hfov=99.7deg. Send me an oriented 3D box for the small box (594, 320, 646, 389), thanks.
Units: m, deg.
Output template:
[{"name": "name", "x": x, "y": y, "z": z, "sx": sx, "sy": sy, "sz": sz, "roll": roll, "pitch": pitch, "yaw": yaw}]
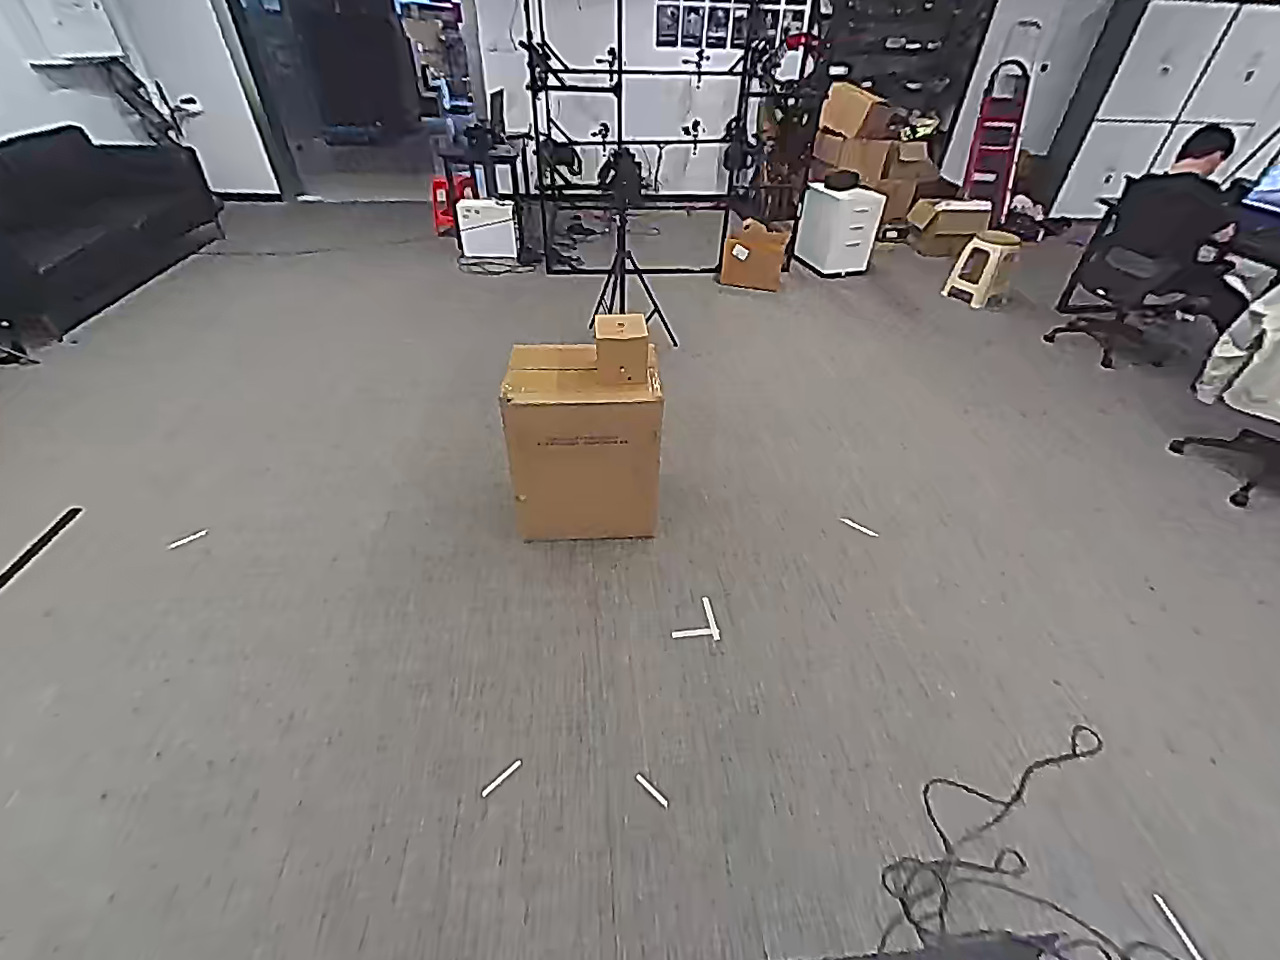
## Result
[{"name": "small box", "x": -0.069, "y": -0.420, "z": 1.809, "sx": 0.168, "sy": 0.176, "sz": 0.179, "roll": -3, "pitch": 41, "yaw": -4}]
